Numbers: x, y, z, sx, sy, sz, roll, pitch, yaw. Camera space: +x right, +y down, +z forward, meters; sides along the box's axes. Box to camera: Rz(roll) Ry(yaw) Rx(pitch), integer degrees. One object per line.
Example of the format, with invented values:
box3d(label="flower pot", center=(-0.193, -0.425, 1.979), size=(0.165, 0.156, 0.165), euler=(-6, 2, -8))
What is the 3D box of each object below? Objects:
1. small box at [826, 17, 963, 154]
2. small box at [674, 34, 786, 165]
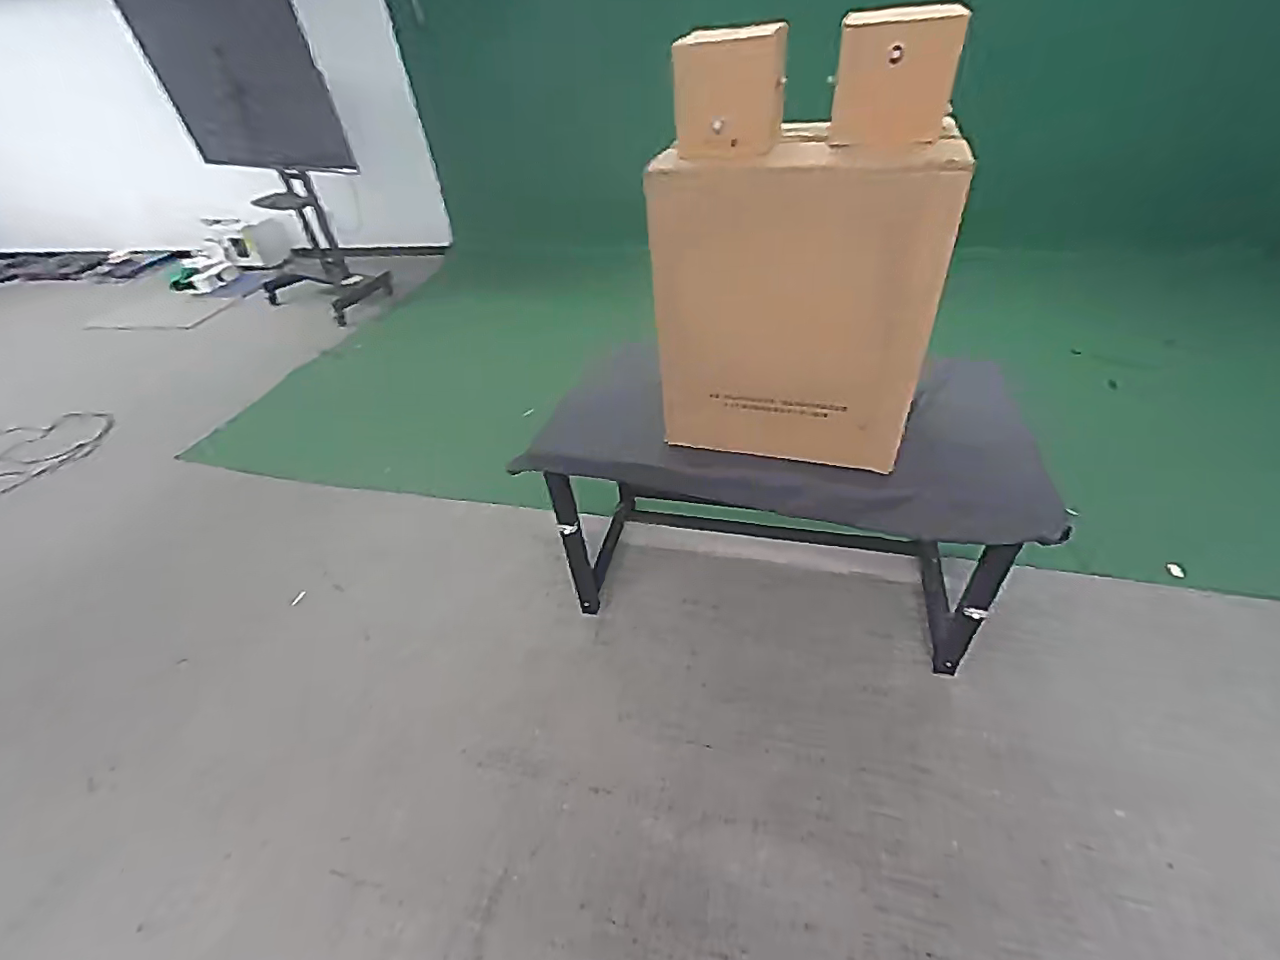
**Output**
box3d(label="small box", center=(0.424, -0.673, 0.927), size=(0.179, 0.176, 0.168), euler=(9, 46, 15))
box3d(label="small box", center=(0.165, -0.689, 0.984), size=(0.168, 0.176, 0.179), euler=(8, 45, 18))
